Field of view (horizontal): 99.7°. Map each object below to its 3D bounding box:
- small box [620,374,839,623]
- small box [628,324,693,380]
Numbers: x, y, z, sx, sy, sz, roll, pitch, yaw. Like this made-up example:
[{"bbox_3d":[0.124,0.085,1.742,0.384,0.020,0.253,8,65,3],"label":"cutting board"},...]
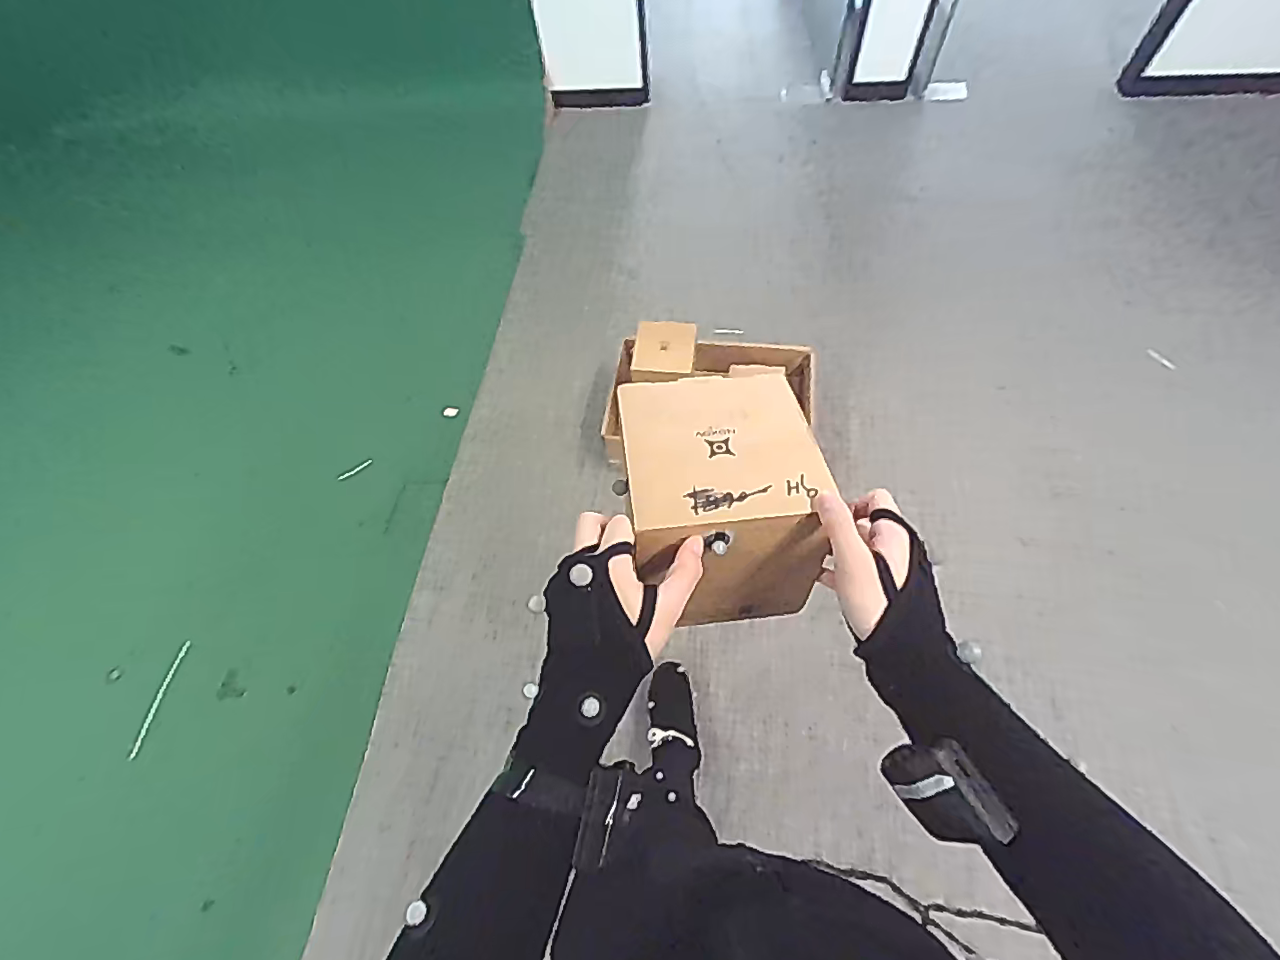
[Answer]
[{"bbox_3d":[0.066,0.017,0.528,0.168,0.176,0.179,-4,47,-4],"label":"small box"},{"bbox_3d":[0.064,-0.324,1.564,0.168,0.176,0.179,5,63,7],"label":"small box"}]
